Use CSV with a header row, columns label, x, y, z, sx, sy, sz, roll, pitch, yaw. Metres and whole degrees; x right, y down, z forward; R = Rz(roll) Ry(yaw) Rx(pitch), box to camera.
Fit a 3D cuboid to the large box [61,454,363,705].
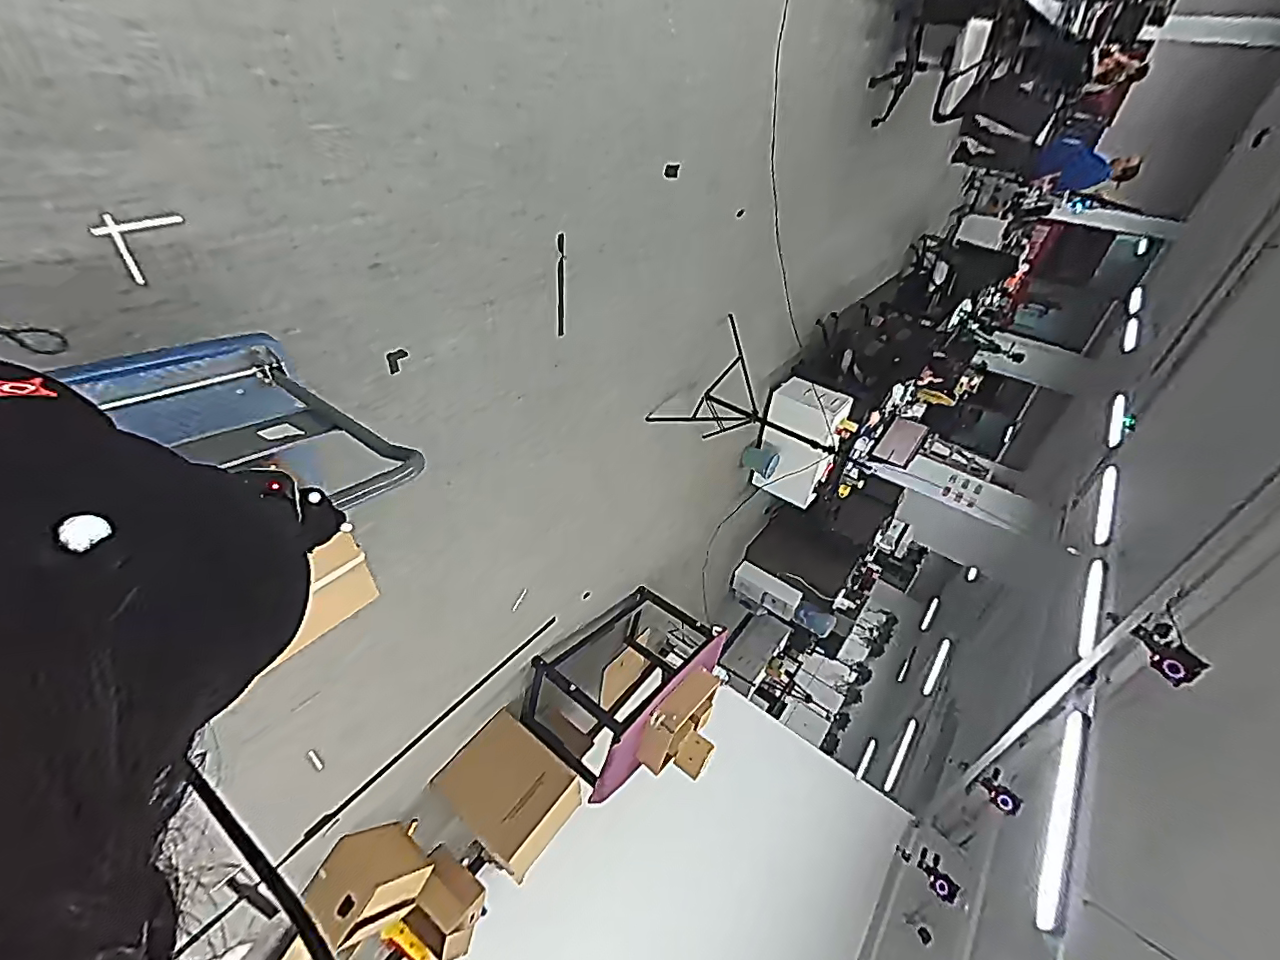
label,x,y,z,sx,sy,sz,roll,pitch,yaw
large box,-0.943,0.206,1.240,0.408,0.320,0.320,-38,145,-37
